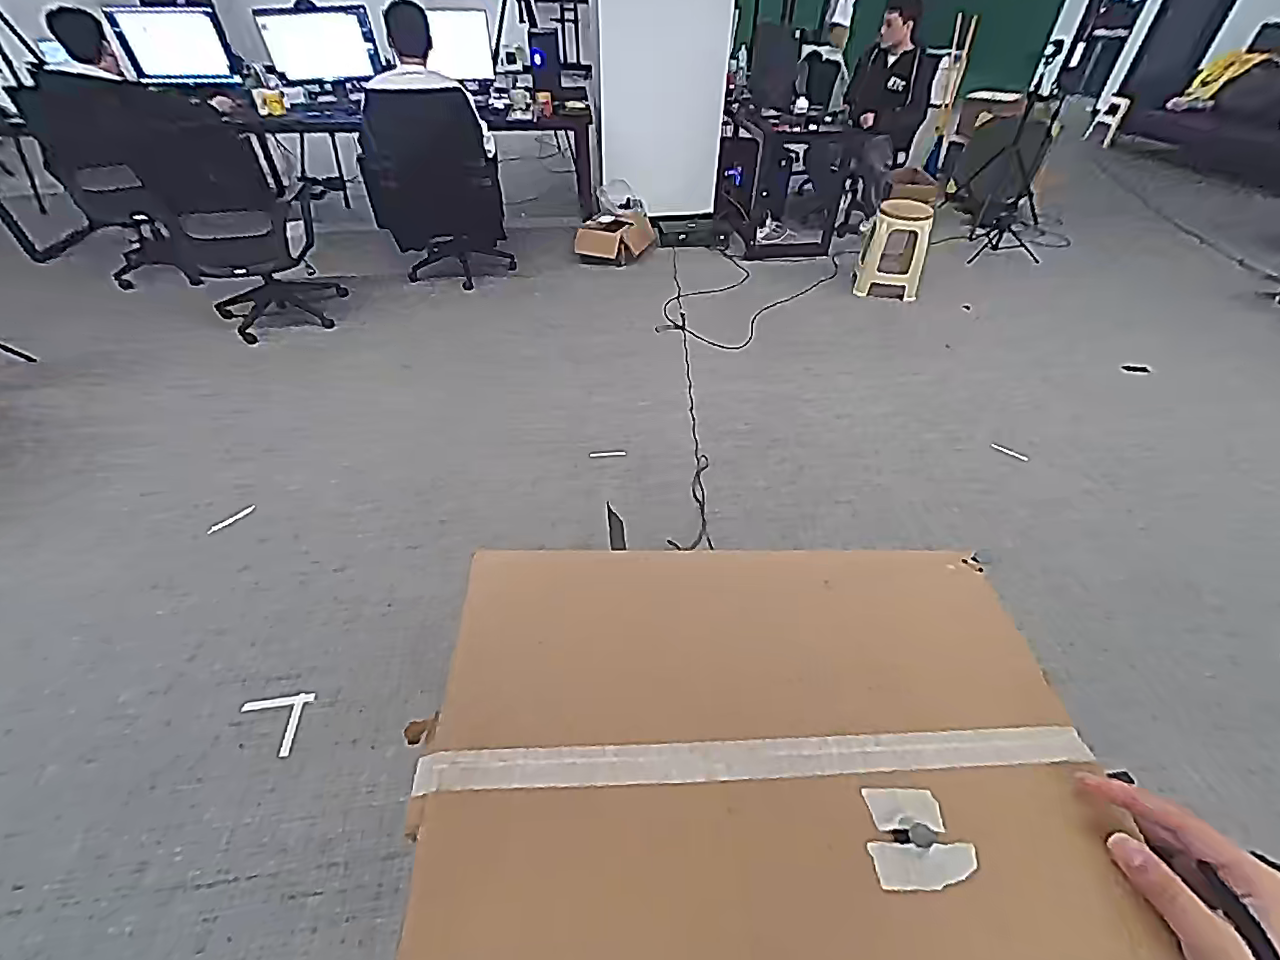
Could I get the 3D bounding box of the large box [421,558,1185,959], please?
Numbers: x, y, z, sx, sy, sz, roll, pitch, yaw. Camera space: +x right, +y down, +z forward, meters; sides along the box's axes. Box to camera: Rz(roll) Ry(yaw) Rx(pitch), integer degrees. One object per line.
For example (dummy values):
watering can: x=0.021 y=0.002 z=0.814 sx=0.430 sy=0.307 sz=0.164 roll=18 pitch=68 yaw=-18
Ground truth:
large box: x=0.069 y=0.280 z=0.445 sx=0.408 sy=0.320 sz=0.320 roll=1 pitch=46 yaw=-6
